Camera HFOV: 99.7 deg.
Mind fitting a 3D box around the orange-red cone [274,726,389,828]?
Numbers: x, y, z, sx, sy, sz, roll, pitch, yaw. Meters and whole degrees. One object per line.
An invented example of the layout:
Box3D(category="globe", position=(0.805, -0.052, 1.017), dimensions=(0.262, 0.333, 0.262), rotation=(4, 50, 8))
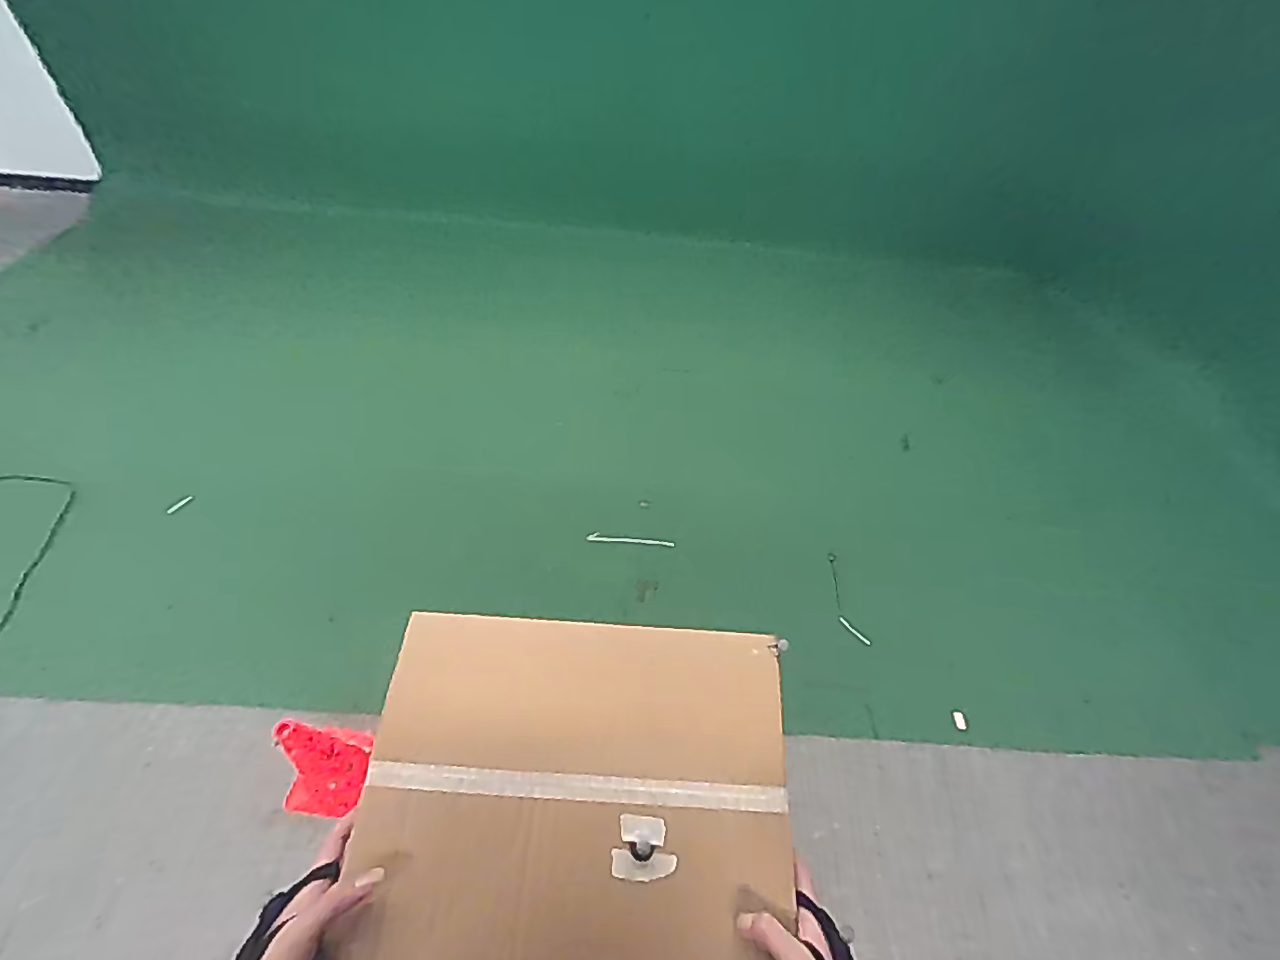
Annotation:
Box3D(category="orange-red cone", position=(-0.772, 0.664, 1.279), dimensions=(0.199, 0.360, 0.198), rotation=(8, 47, 4))

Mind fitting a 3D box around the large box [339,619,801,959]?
Box3D(category="large box", position=(-0.059, 0.372, 0.657), dimensions=(0.408, 0.320, 0.320), rotation=(3, 61, 0))
